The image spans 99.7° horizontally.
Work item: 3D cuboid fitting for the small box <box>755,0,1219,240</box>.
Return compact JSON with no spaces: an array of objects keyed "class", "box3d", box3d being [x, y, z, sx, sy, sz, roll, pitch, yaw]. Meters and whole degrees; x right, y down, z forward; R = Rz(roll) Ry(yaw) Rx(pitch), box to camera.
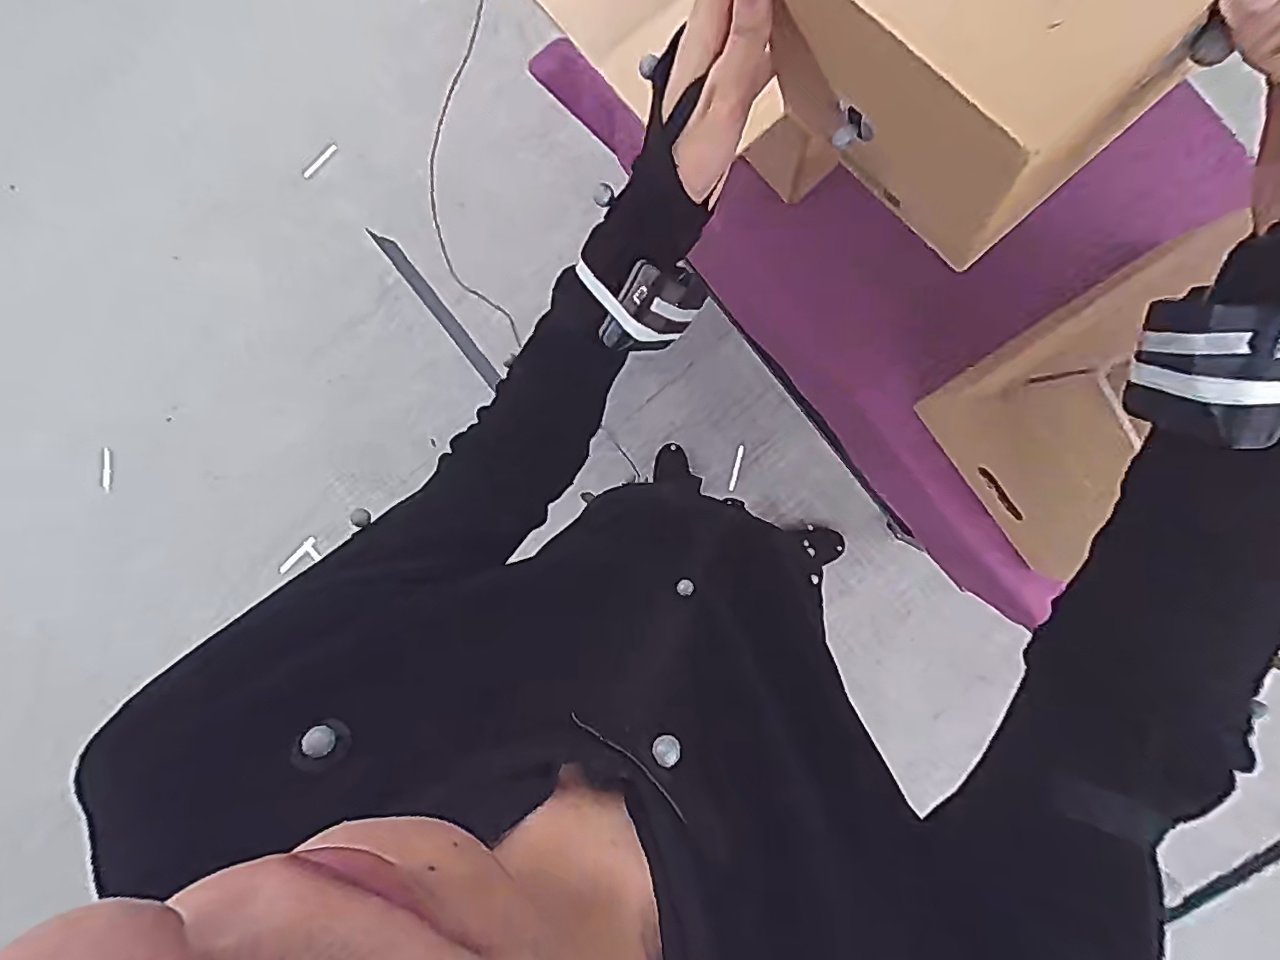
[{"class":"small box","box3d":[0.169,-0.250,0.253,0.179,0.176,0.168,-44,79,20]}]
